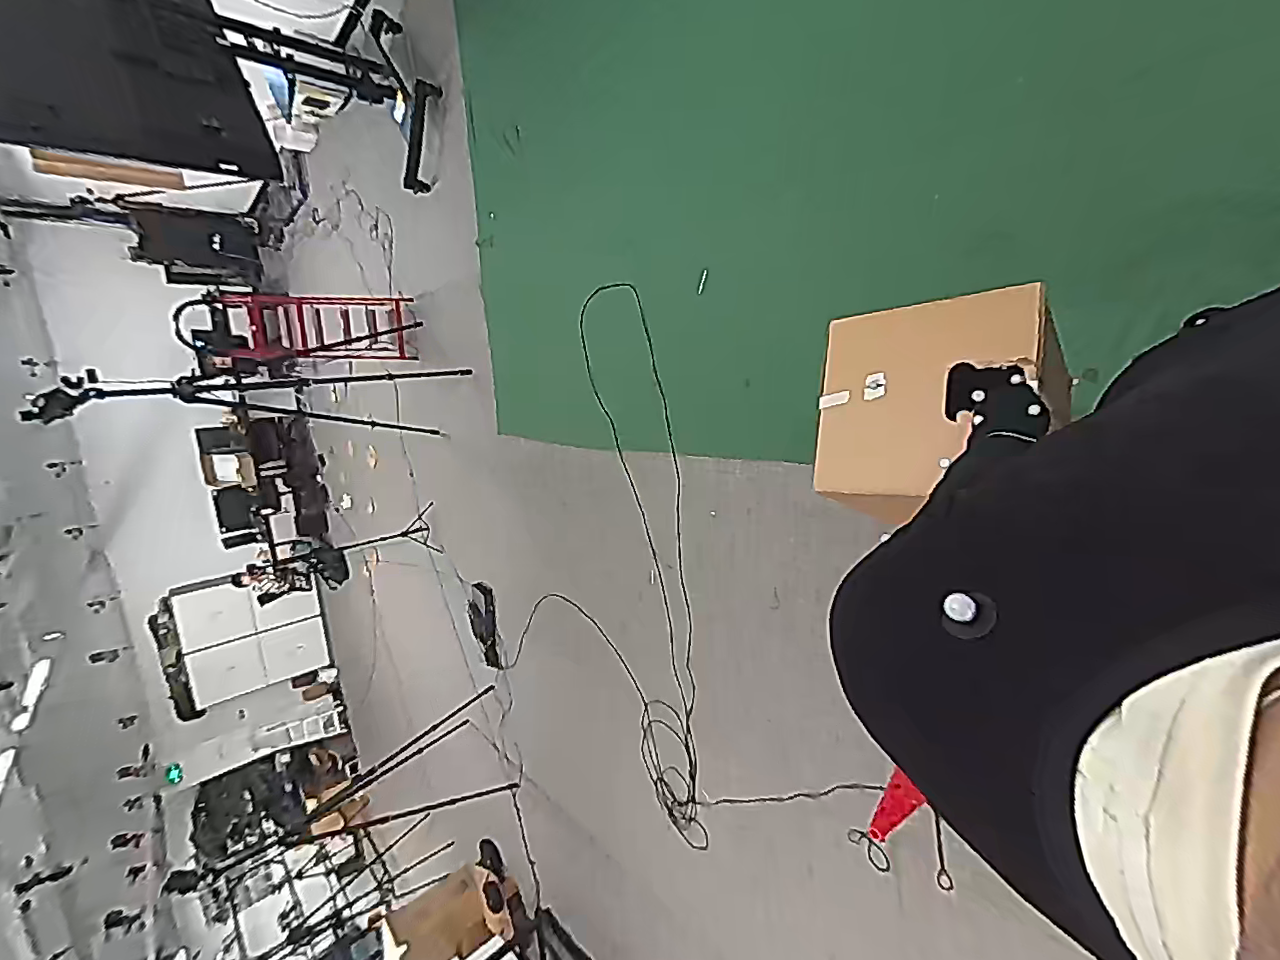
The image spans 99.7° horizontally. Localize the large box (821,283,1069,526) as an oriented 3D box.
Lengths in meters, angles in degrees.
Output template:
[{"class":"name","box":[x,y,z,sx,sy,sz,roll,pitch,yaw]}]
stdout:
[{"class":"large box","box":[0.562,-0.098,0.986,0.320,0.408,0.320,1,80,43]}]
